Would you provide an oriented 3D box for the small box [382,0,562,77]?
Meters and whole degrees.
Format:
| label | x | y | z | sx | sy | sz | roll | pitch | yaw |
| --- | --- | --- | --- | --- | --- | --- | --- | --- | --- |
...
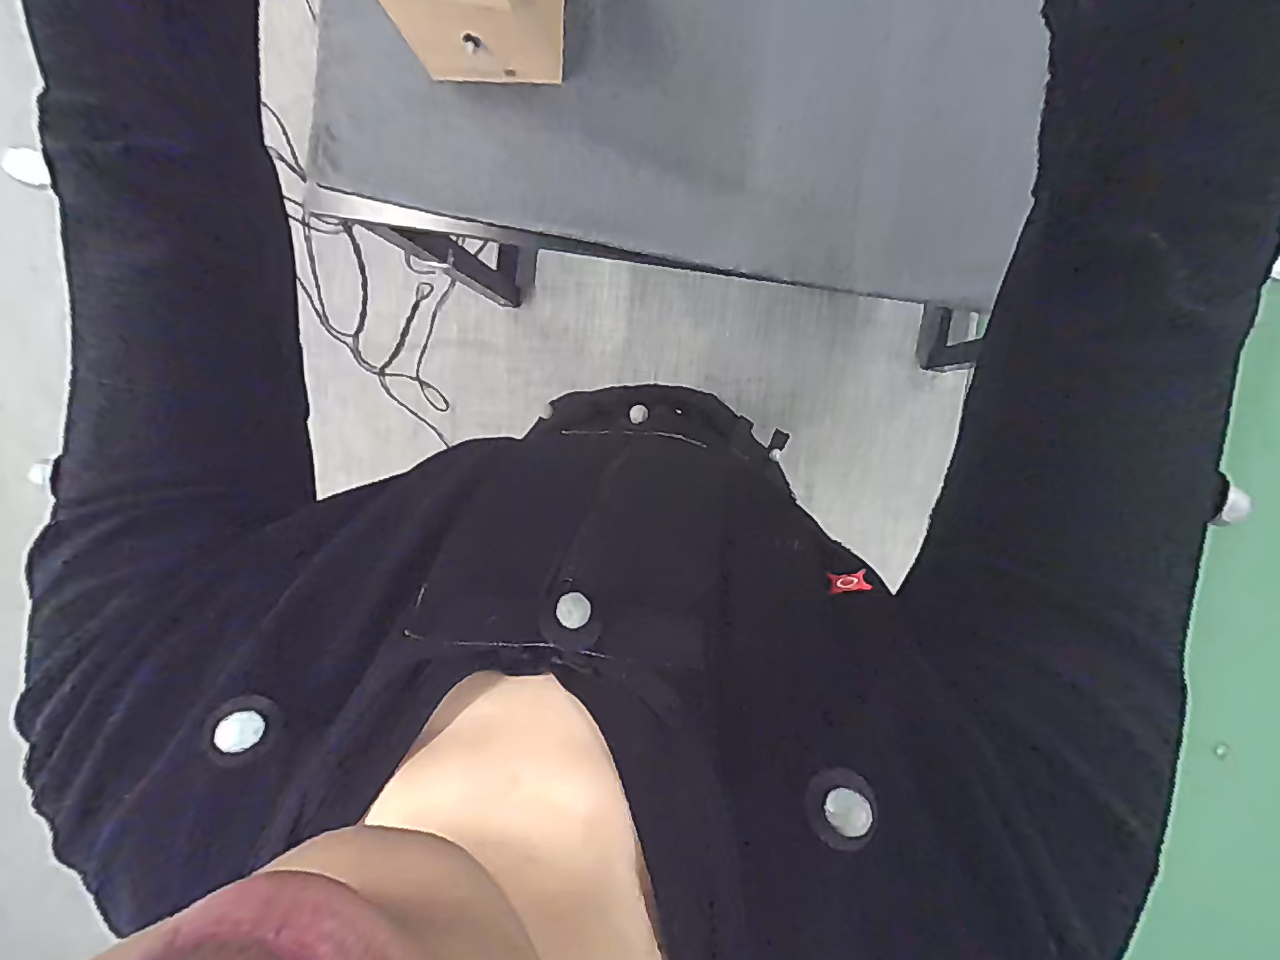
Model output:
| label | x | y | z | sx | sy | sz | roll | pitch | yaw |
| --- | --- | --- | --- | --- | --- | --- | --- | --- | --- |
| small box | -0.178 | -0.577 | 0.586 | 0.168 | 0.176 | 0.179 | 3 | 97 | 1 |
